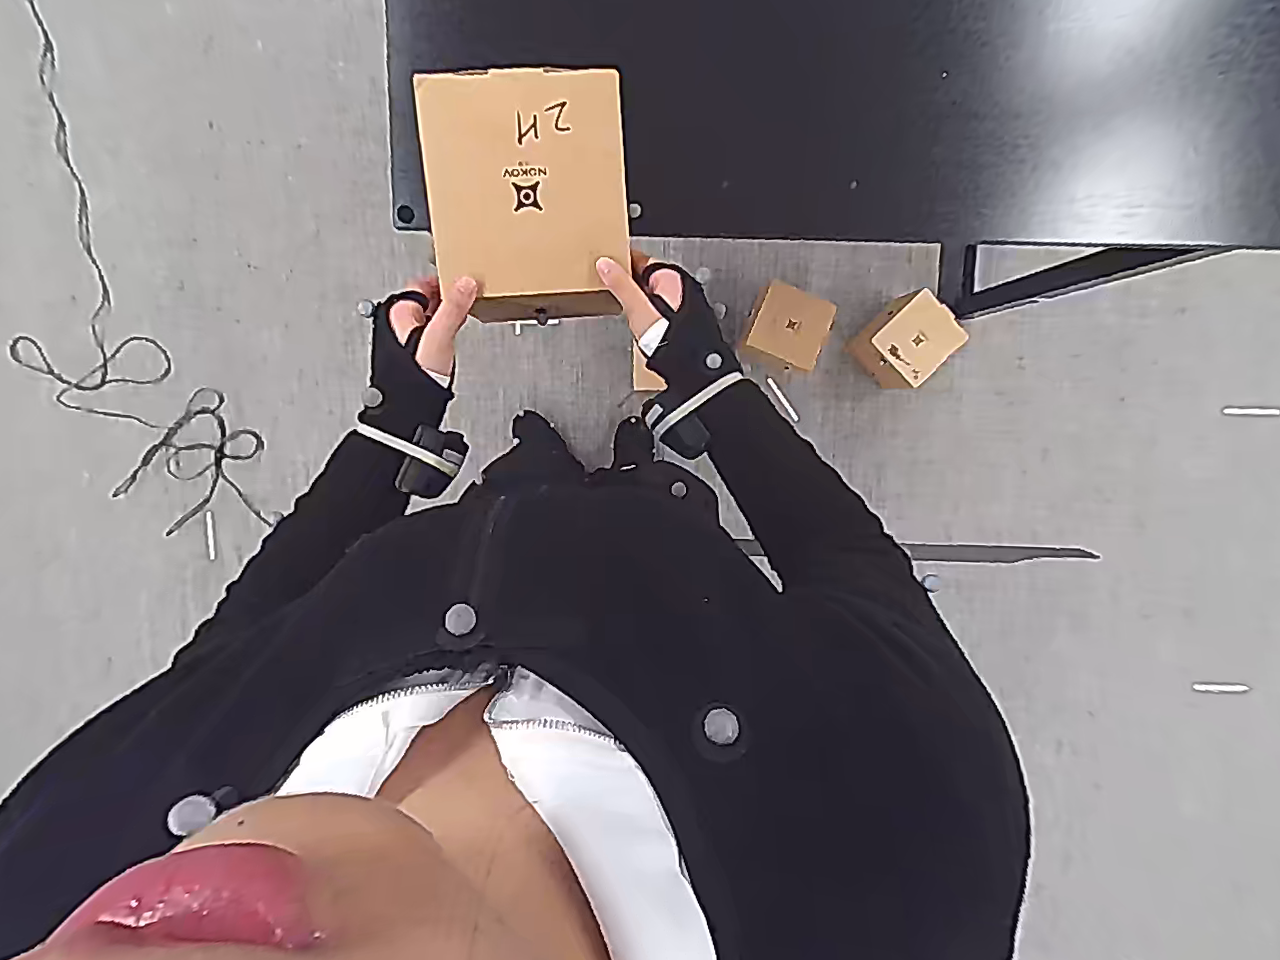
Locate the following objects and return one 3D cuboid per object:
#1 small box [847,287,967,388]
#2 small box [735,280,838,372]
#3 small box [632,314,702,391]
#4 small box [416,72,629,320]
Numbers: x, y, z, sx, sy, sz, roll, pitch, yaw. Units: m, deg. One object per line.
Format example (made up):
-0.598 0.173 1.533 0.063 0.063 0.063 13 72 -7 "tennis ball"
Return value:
0.660 -0.350 1.362 0.168 0.176 0.179 44 96 -5 "small box"
0.359 -0.378 1.360 0.179 0.176 0.168 22 97 -2 "small box"
0.064 -0.317 1.367 0.168 0.176 0.179 0 100 0 "small box"
-0.099 -0.255 0.530 0.168 0.176 0.179 -5 99 -4 "small box"
